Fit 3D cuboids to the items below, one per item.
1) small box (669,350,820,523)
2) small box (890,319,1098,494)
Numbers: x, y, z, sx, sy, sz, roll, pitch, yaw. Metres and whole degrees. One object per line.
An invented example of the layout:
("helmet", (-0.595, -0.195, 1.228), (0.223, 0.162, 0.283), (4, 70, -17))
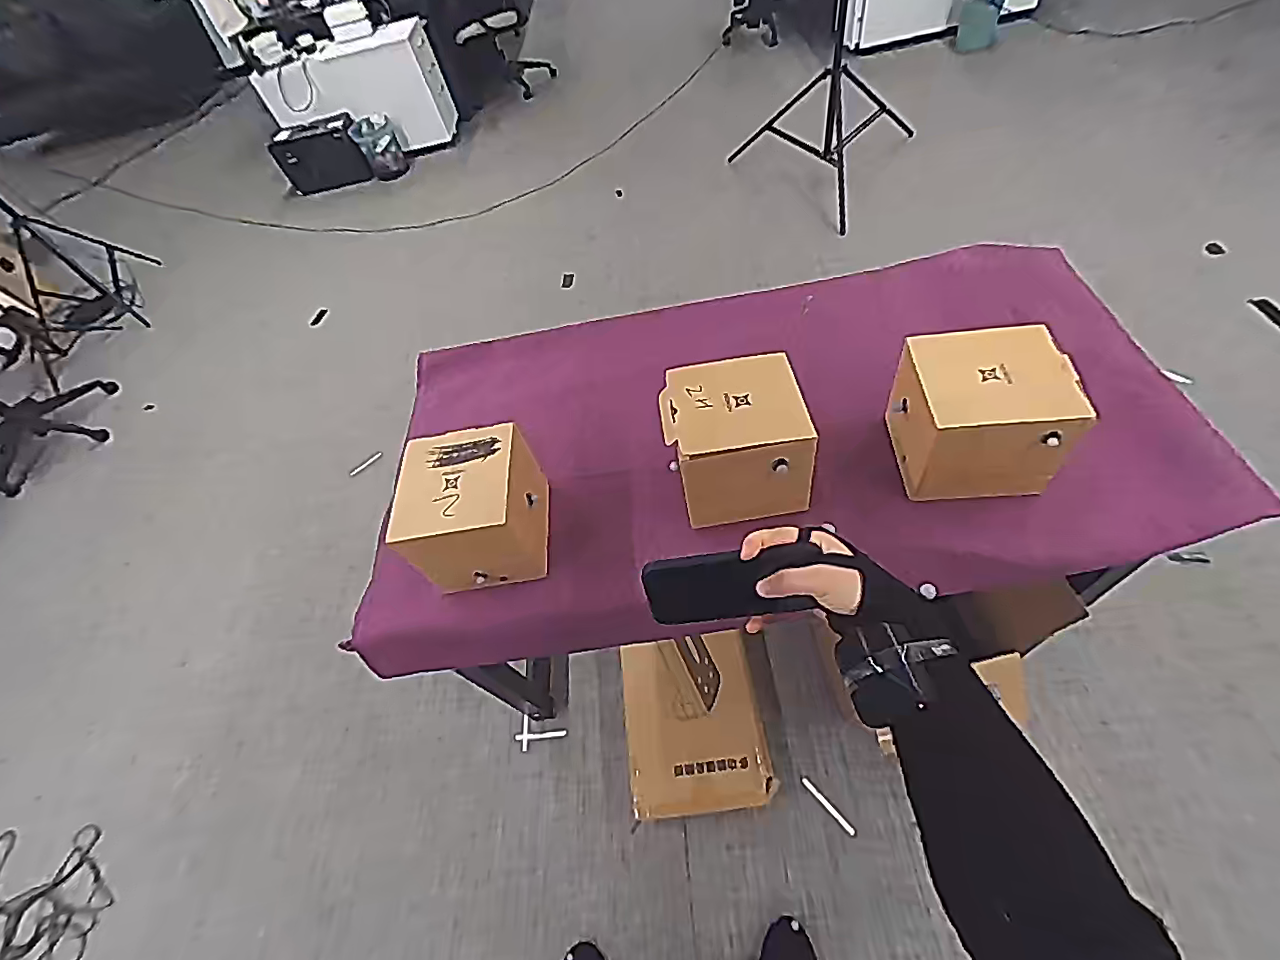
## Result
("small box", (0.144, -0.058, 0.783), (0.179, 0.176, 0.168), (-10, 52, 5))
("small box", (0.458, -0.093, 0.742), (0.179, 0.176, 0.168), (-4, 55, 9))
